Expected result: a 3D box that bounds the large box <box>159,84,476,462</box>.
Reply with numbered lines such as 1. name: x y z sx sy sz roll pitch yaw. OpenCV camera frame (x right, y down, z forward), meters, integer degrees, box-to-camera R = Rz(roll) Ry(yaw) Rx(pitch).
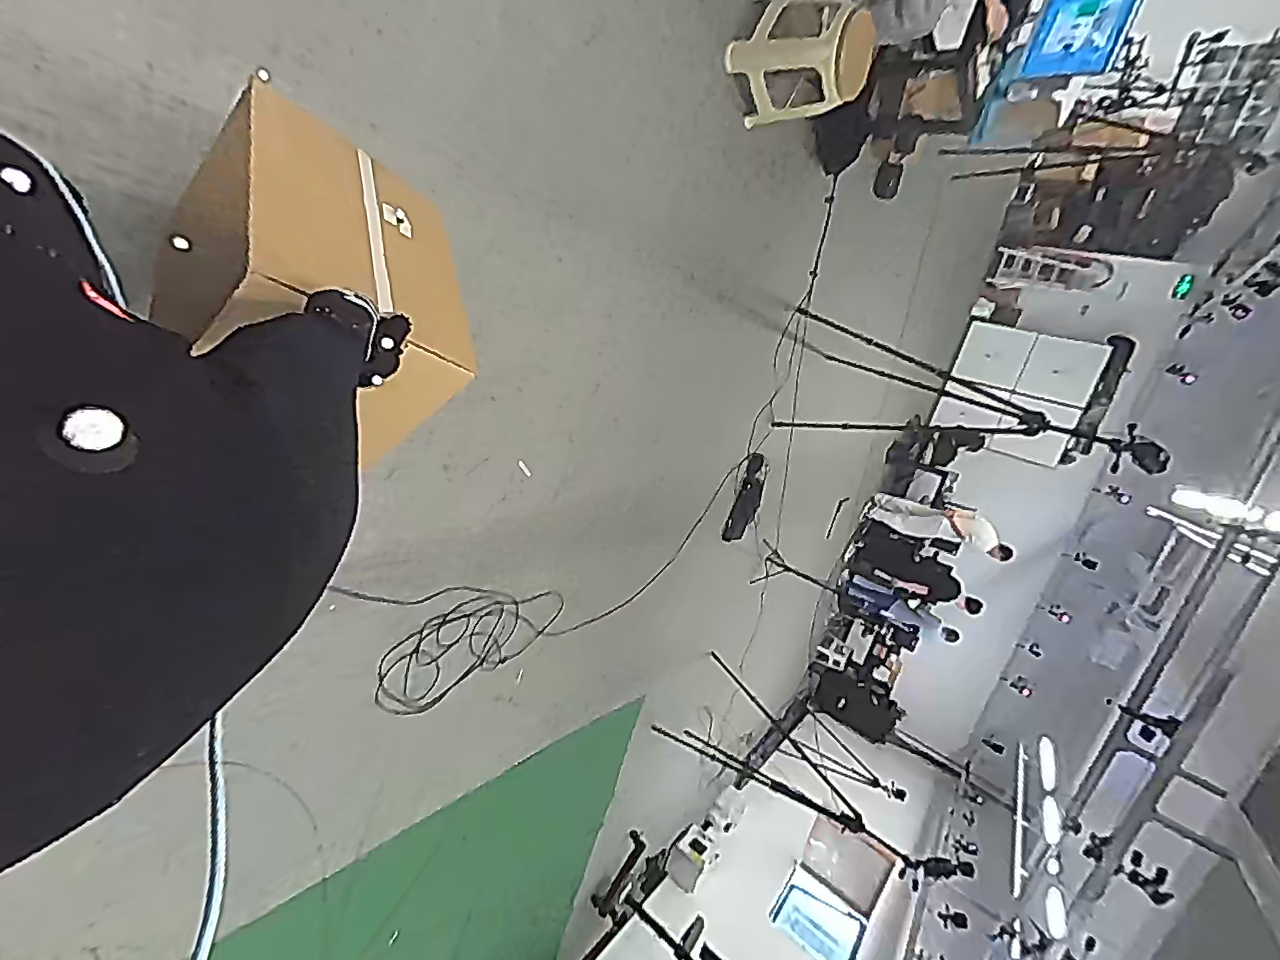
1. large box: -0.514 -0.293 0.867 0.320 0.408 0.320 -32 152 24
